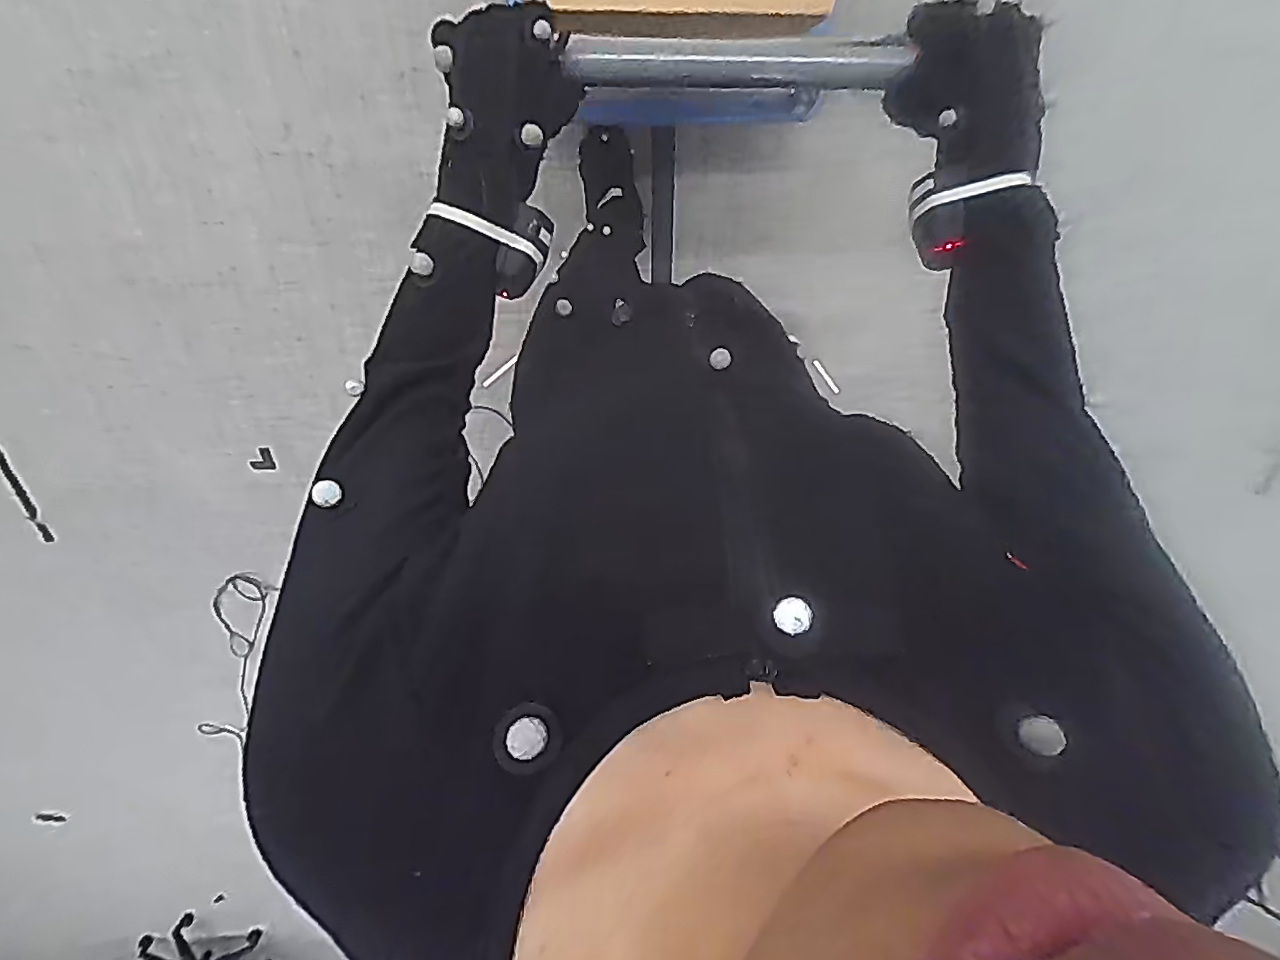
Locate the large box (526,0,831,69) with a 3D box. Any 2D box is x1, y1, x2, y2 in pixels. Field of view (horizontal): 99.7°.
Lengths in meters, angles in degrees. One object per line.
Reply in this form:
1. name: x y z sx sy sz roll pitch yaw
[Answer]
1. large box: 0.041 -0.803 0.764 0.408 0.320 0.320 -1 120 -2
